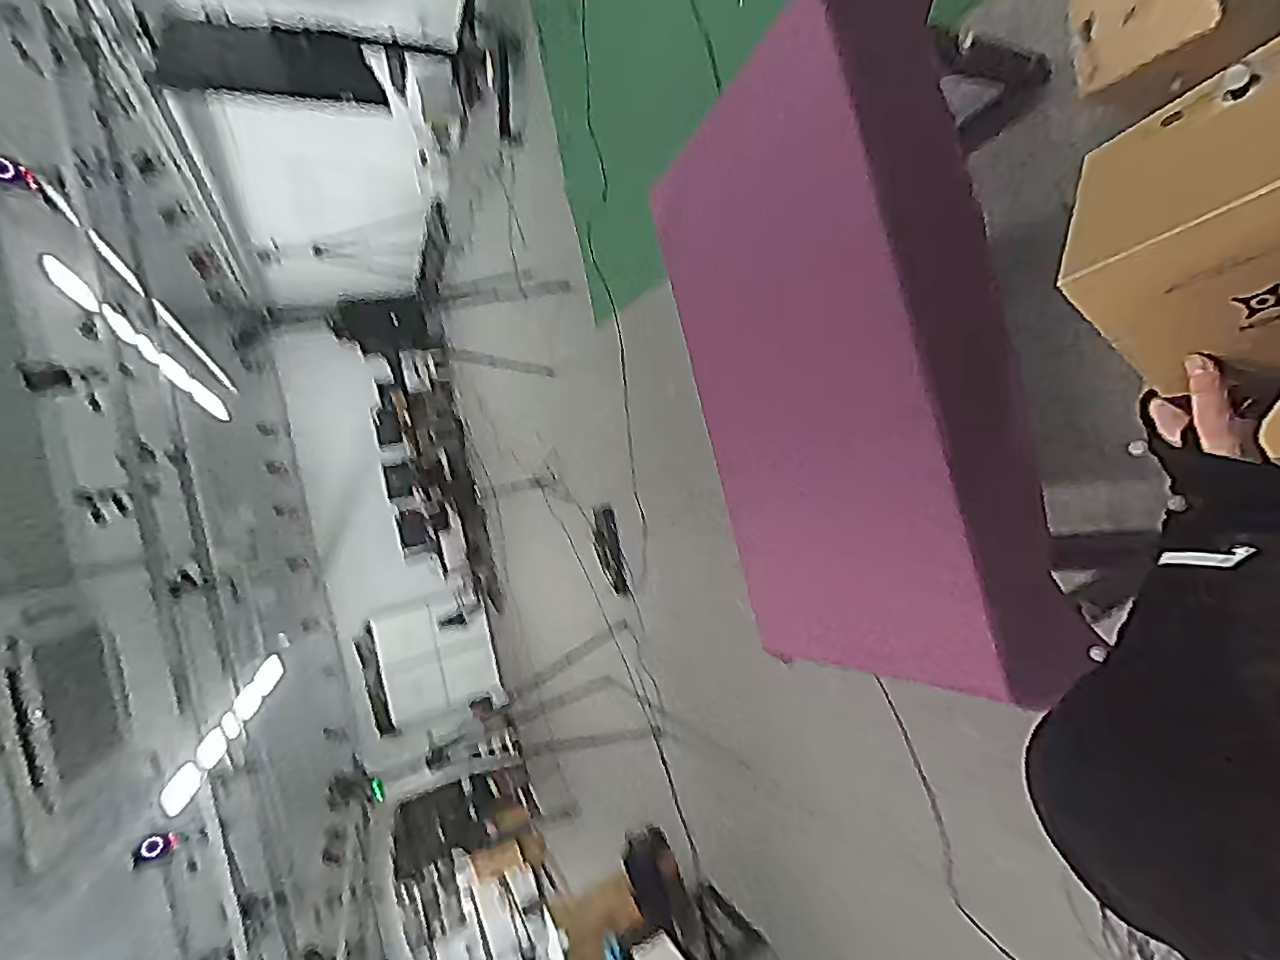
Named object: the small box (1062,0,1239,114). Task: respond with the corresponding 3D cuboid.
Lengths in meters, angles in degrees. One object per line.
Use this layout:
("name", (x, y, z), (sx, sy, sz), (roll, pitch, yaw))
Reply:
("small box", (0.849, -0.749, 0.899), (0.179, 0.176, 0.168), (-2, 99, 61))

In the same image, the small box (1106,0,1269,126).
("small box", (0.990, -0.776, 0.980), (0.179, 0.176, 0.168), (7, 107, 62))
